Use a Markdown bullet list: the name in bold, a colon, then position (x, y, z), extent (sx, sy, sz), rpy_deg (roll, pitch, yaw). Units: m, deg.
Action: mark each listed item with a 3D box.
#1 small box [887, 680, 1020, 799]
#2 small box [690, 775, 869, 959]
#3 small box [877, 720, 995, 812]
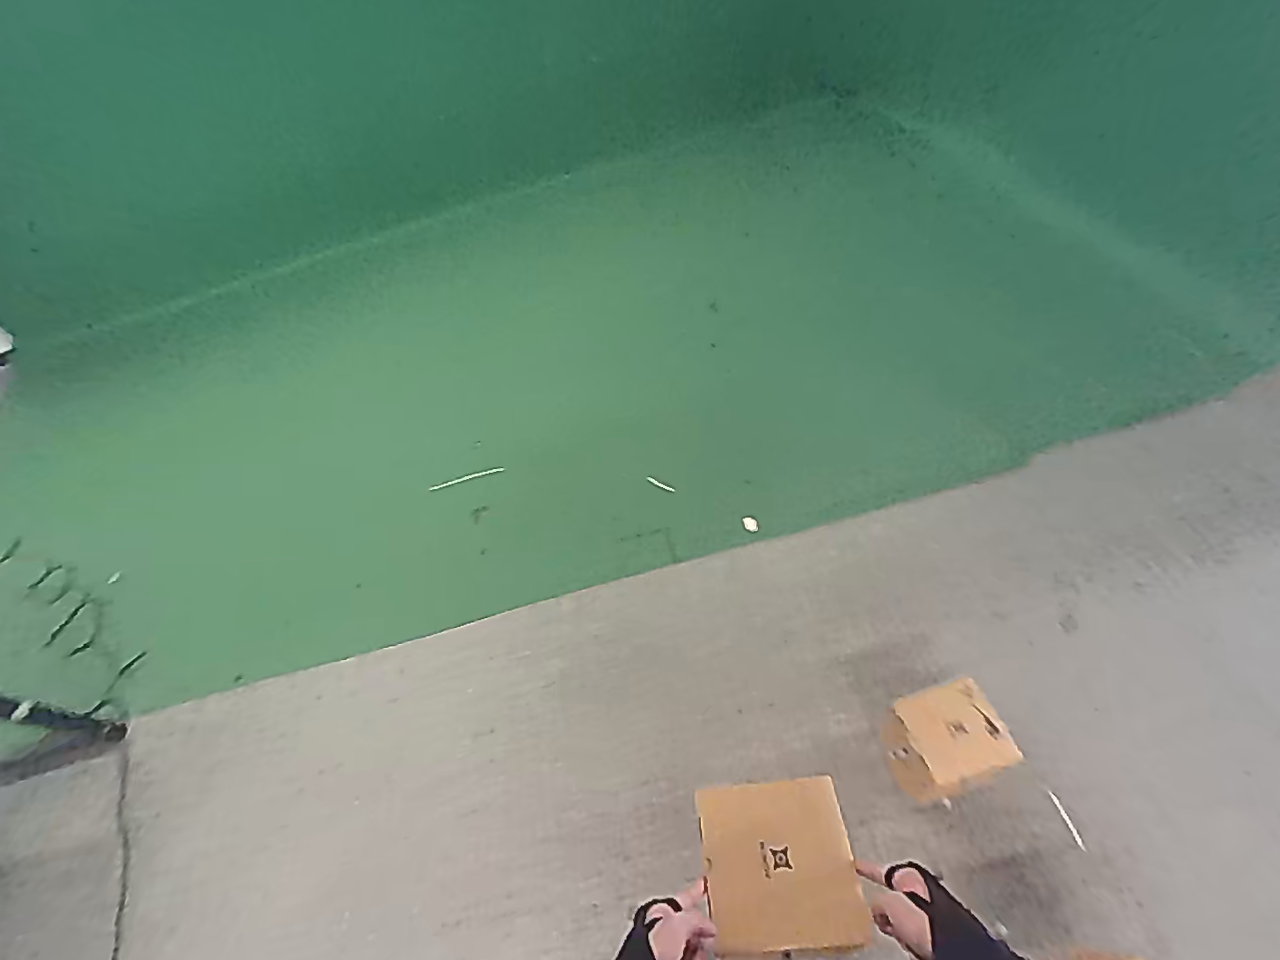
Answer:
- **small box**: position (0.642, 0.551, 1.138), extent (0.179, 0.176, 0.168), rpy_deg (-19, 51, 1)
- **small box**: position (0.166, 0.499, 0.691), extent (0.179, 0.176, 0.168), rpy_deg (-10, 44, 4)
- **small box**: position (0.676, 0.653, 1.263), extent (0.168, 0.176, 0.179), rpy_deg (-17, 52, 2)
